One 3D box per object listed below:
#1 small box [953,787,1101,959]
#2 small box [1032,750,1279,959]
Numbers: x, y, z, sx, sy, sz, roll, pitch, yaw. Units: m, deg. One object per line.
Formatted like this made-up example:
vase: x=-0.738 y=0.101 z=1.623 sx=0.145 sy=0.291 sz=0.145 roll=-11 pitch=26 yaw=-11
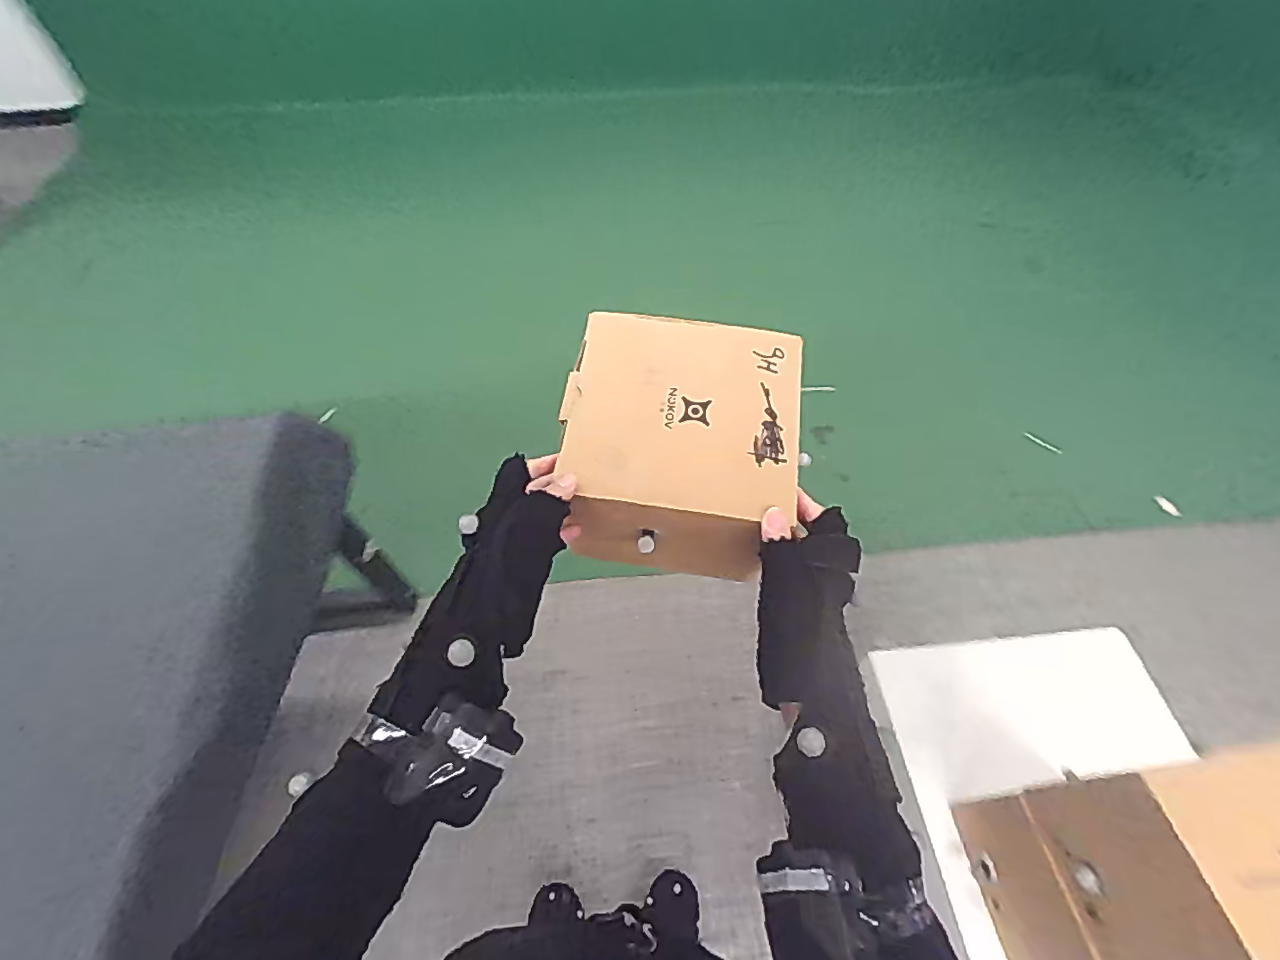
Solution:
small box: x=0.487 y=0.430 z=0.585 sx=0.179 sy=0.176 sz=0.168 roll=-7 pitch=55 yaw=-3
small box: x=0.492 y=0.334 z=0.452 sx=0.179 sy=0.176 sz=0.168 roll=-8 pitch=56 yaw=-7
